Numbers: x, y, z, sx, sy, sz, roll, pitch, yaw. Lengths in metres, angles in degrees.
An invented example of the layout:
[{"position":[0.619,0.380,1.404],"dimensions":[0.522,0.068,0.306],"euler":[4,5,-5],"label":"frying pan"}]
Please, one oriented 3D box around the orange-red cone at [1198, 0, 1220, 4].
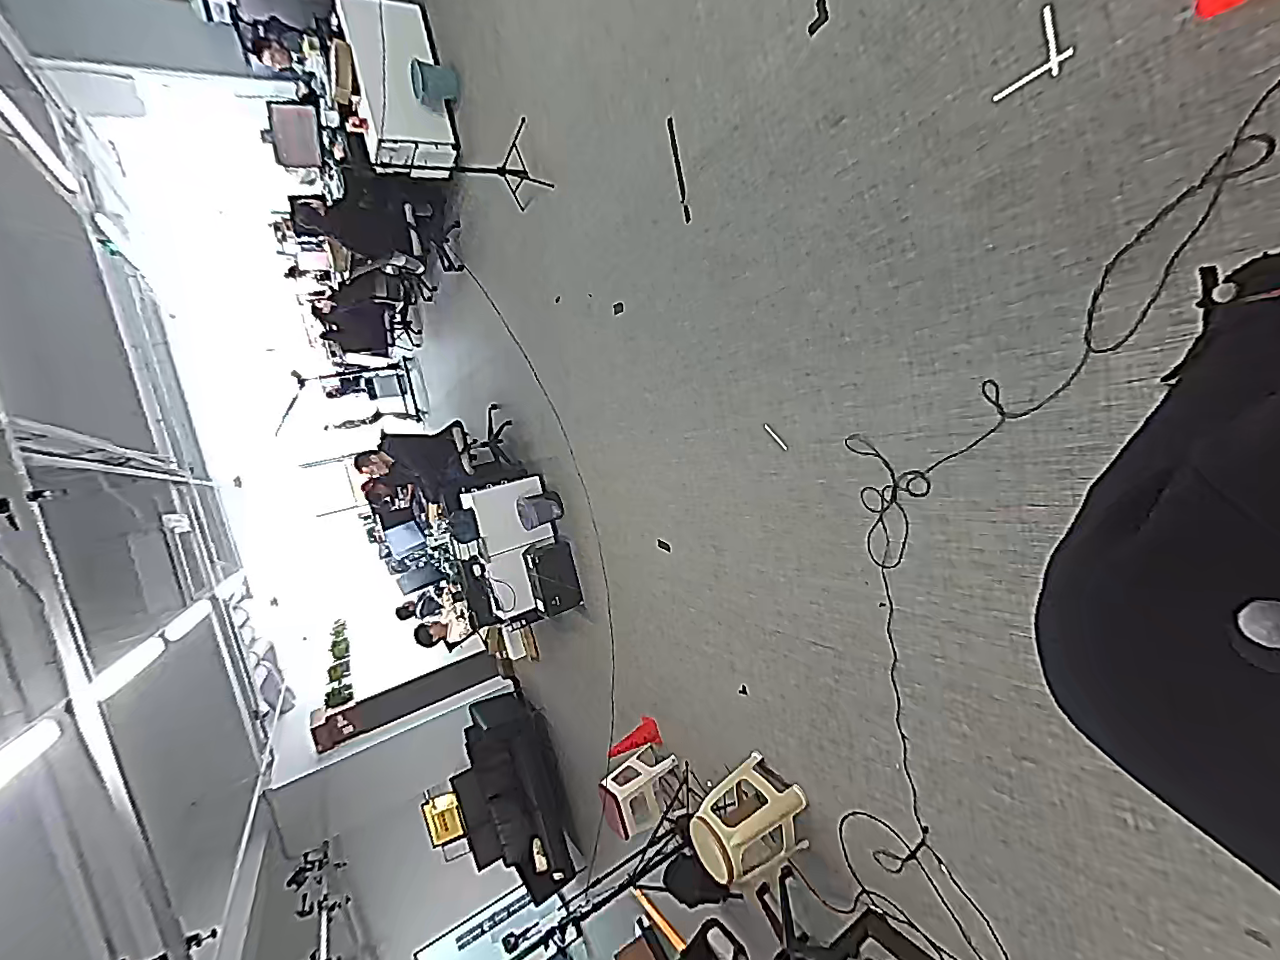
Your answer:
[{"position":[0.855,-0.862,0.758],"dimensions":[0.199,0.360,0.198],"euler":[8,109,60],"label":"orange-red cone"}]
